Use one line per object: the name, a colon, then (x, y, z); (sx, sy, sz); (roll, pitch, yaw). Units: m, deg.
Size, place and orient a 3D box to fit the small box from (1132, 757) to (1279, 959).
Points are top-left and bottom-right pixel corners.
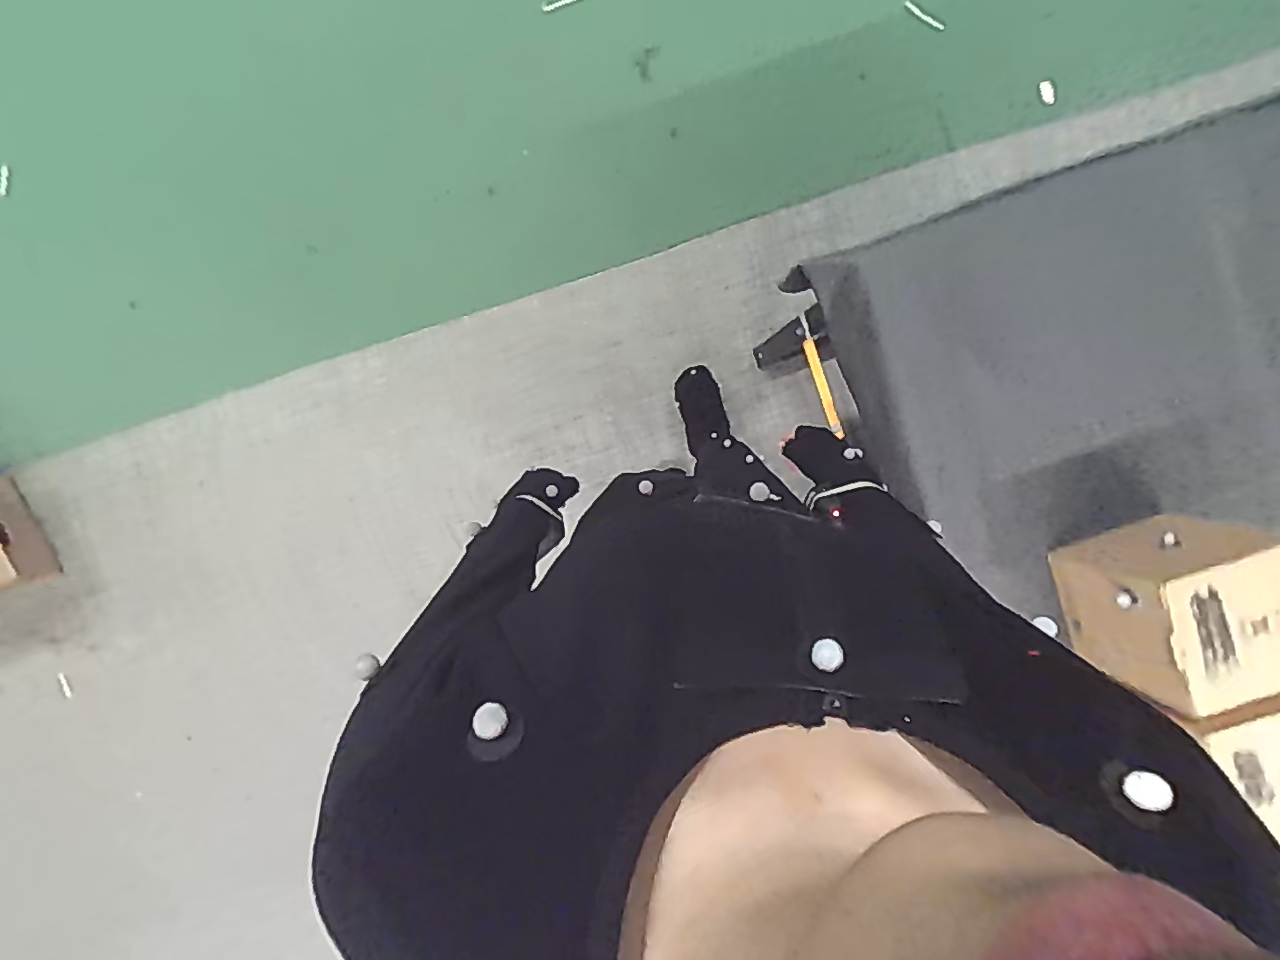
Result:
small box: (0.826, 0.507, 0.721); (0.179, 0.176, 0.168); (-18, 95, 2)
